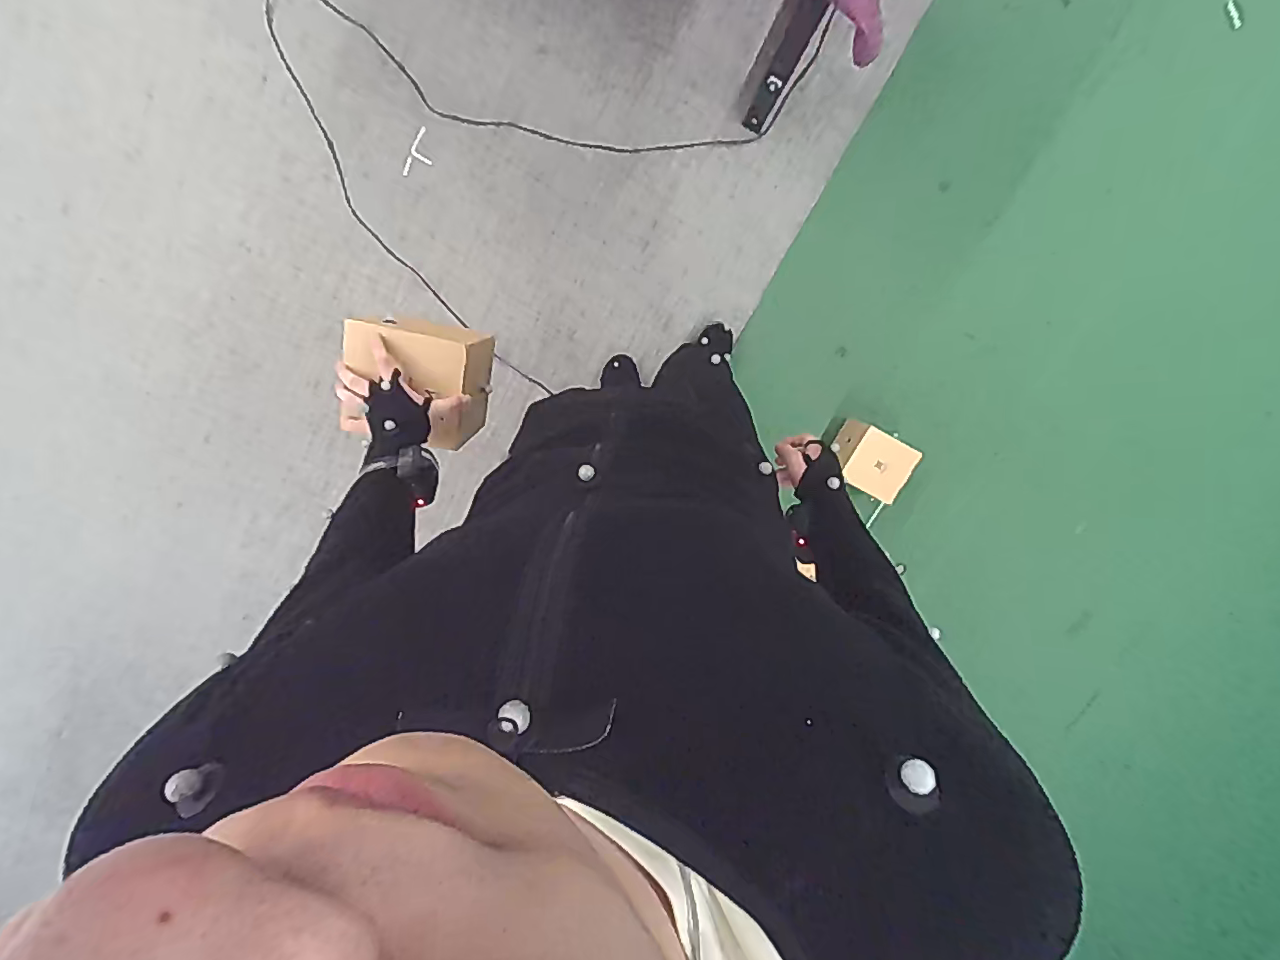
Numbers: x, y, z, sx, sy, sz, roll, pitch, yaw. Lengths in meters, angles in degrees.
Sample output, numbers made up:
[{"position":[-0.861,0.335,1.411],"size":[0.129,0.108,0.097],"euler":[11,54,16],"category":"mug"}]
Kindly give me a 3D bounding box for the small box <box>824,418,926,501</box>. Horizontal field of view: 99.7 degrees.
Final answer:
[{"position":[0.659,-0.066,1.542],"size":[0.179,0.176,0.168],"euler":[26,103,-7],"category":"small box"}]

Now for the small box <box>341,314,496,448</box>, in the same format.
[{"position":[-0.346,-0.166,0.863],"size":[0.179,0.176,0.168],"euler":[11,110,-3],"category":"small box"}]
